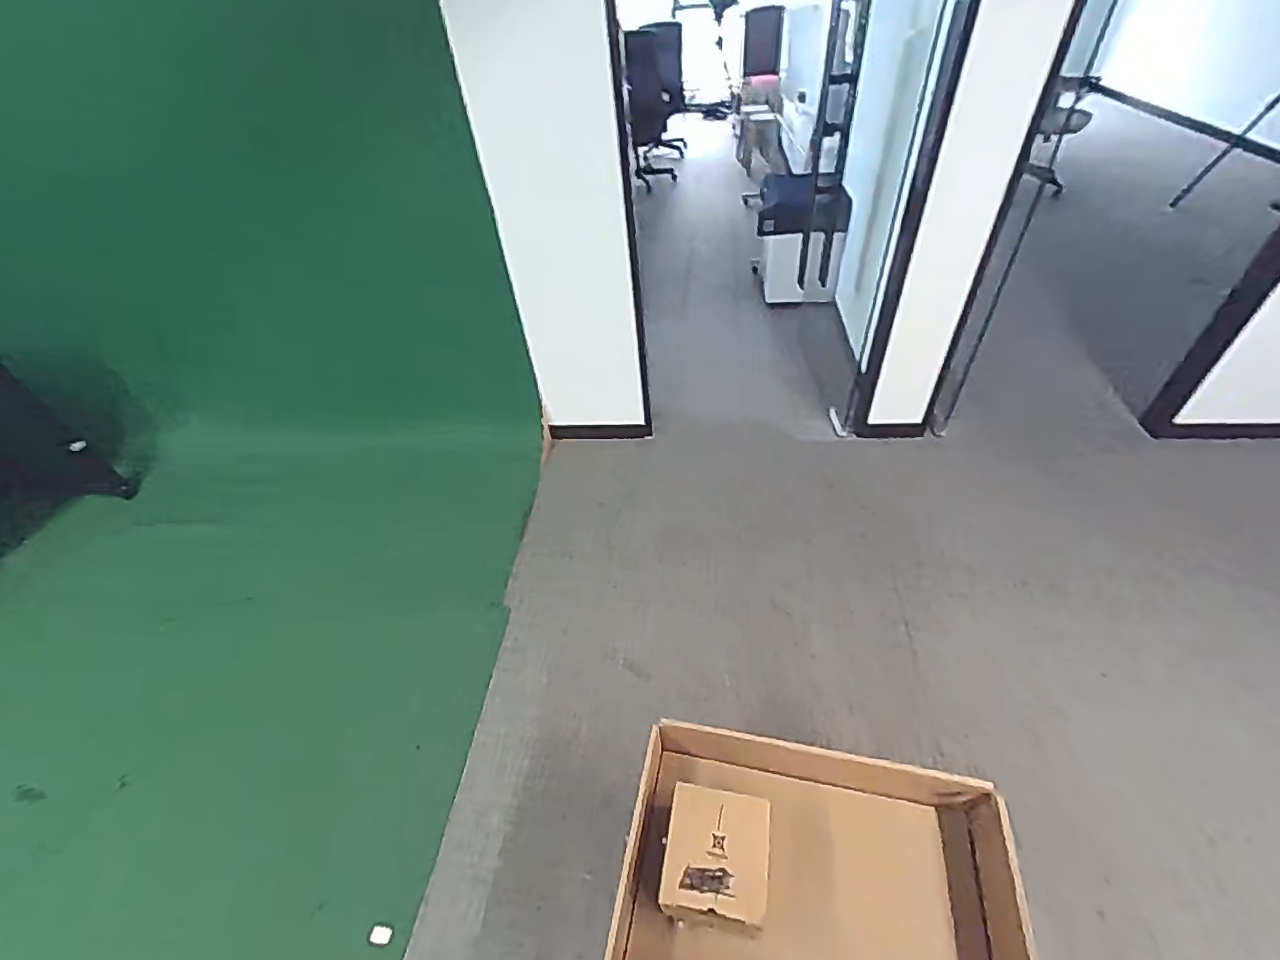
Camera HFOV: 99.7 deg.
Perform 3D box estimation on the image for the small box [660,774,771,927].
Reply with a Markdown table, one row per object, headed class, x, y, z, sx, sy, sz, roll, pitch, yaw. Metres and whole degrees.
| class | x | y | z | sx | sy | sz | roll | pitch | yaw |
| --- | --- | --- | --- | --- | --- | --- | --- | --- | --- |
| small box | 0.137 | 0.650 | 0.947 | 0.168 | 0.176 | 0.179 | 5 | 46 | 13 |
